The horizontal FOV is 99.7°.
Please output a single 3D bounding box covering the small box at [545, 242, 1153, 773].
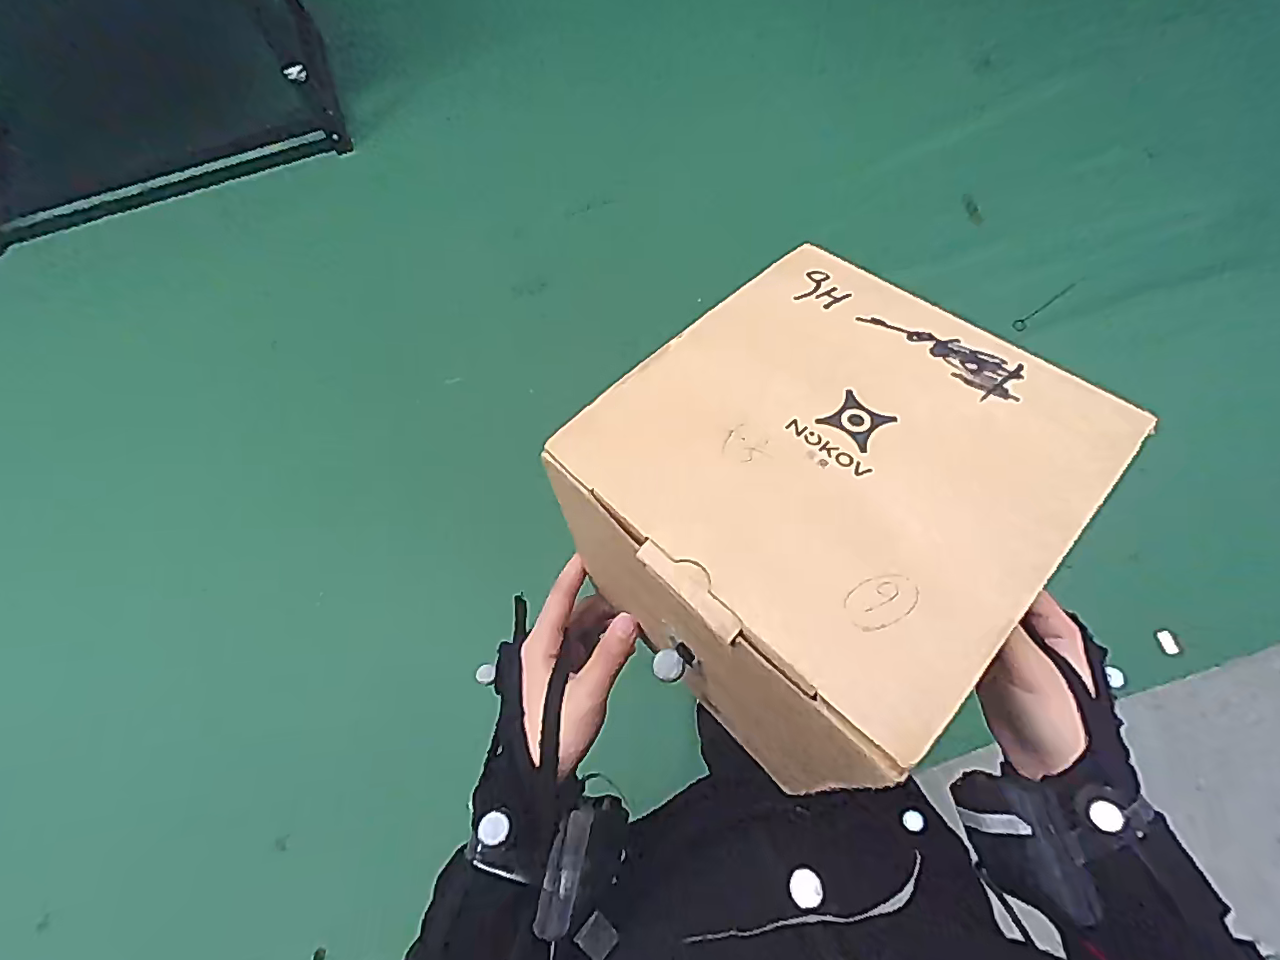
[{"bbox_3d":[0.083,0.023,0.279,0.179,0.176,0.168,-41,64,-18],"label":"small box"}]
